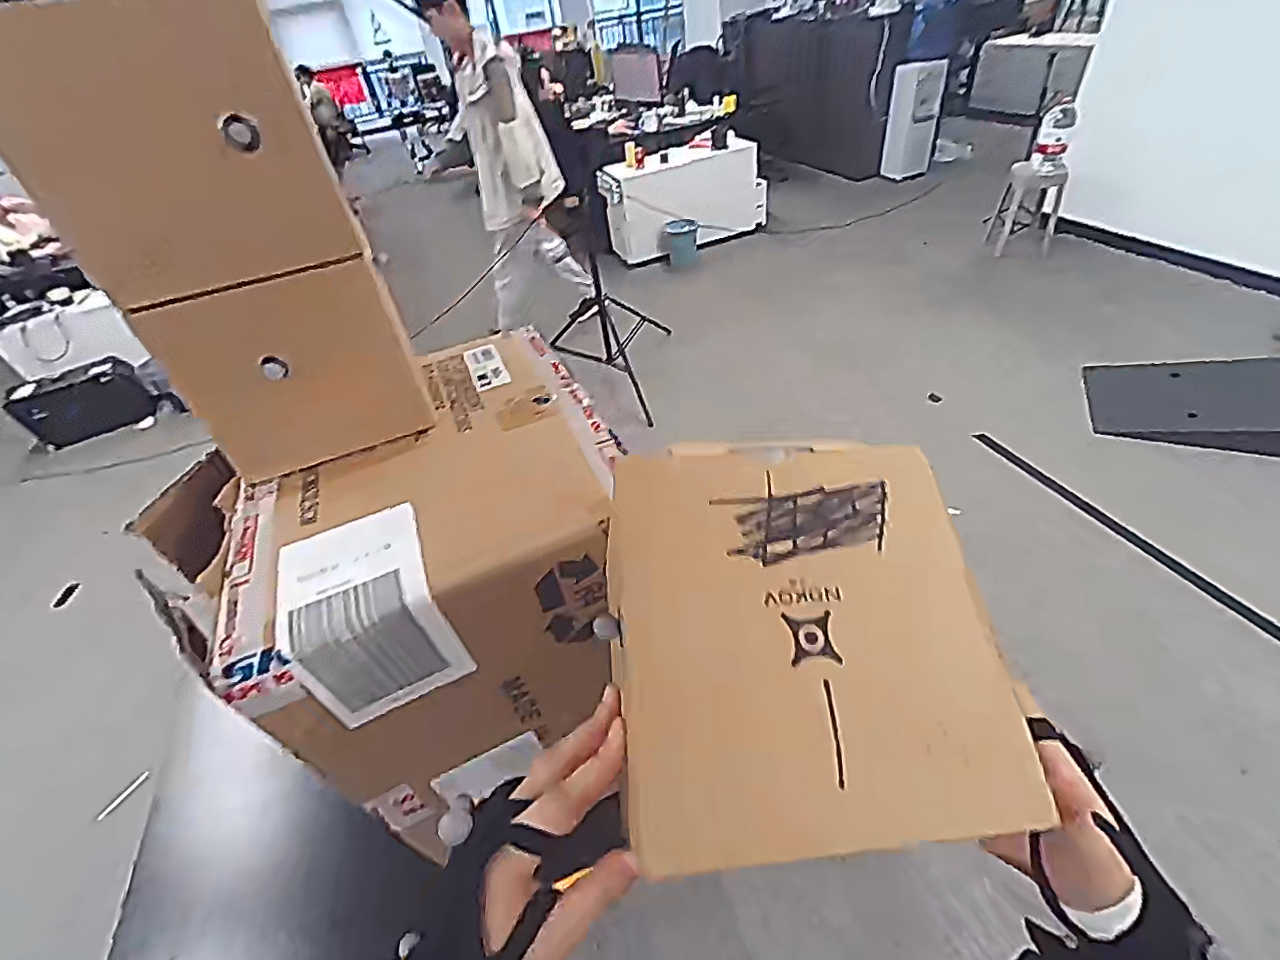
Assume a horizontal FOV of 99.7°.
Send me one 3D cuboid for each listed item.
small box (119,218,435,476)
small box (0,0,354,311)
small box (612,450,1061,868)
[{"bbox_3d":[-0.322,-0.130,0.521,0.179,0.176,0.168,-22,41,-14],"label":"small box"},{"bbox_3d":[-0.340,-0.252,0.414,0.179,0.176,0.168,-24,41,-16],"label":"small box"},{"bbox_3d":[0.072,0.099,0.313,0.168,0.176,0.179,-2,63,-6],"label":"small box"}]
